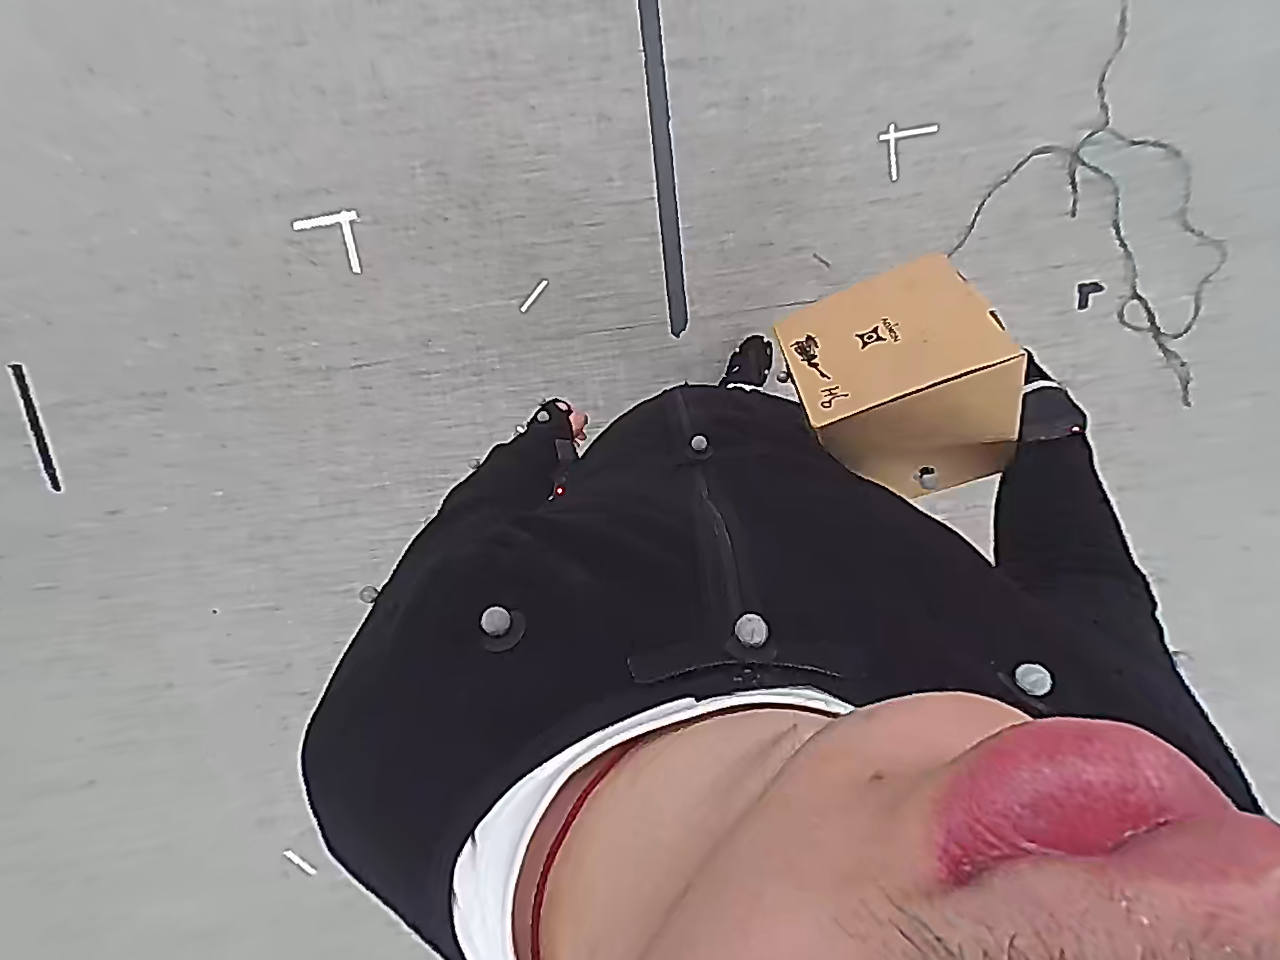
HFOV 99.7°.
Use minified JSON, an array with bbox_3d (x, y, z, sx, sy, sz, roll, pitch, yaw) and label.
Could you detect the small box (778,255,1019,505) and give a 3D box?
[{"bbox_3d":[0.269,-0.099,0.587,0.179,0.168,0.176,-20,138,17],"label":"small box"}]
